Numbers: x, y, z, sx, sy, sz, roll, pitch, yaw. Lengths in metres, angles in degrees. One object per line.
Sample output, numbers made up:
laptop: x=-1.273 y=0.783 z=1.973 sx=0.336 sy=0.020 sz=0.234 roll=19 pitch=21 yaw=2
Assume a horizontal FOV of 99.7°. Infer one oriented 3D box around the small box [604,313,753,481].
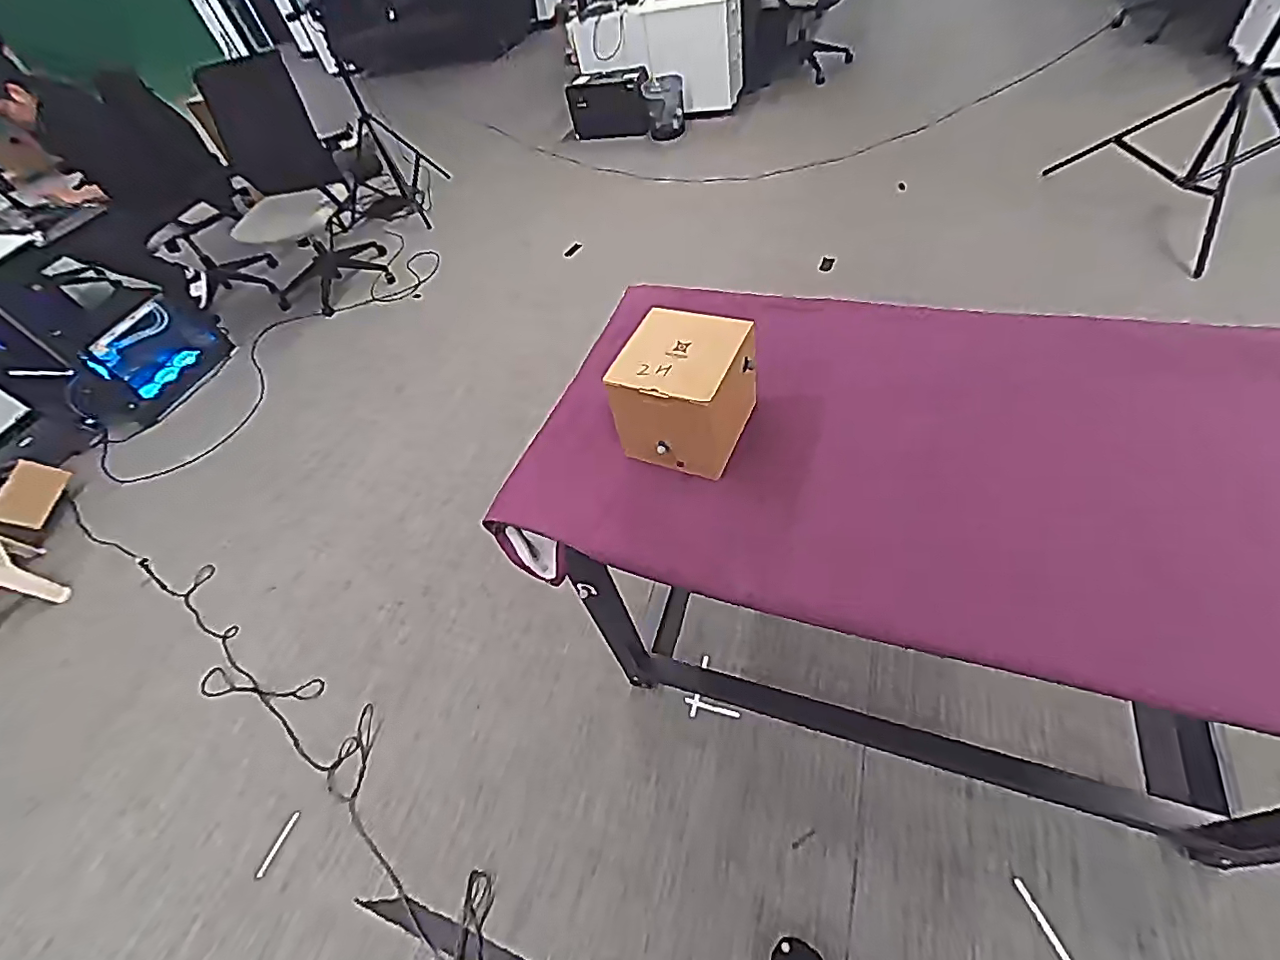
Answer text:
small box: x=0.068 y=-0.129 z=0.838 sx=0.168 sy=0.176 sz=0.179 roll=16 pitch=57 yaw=24
